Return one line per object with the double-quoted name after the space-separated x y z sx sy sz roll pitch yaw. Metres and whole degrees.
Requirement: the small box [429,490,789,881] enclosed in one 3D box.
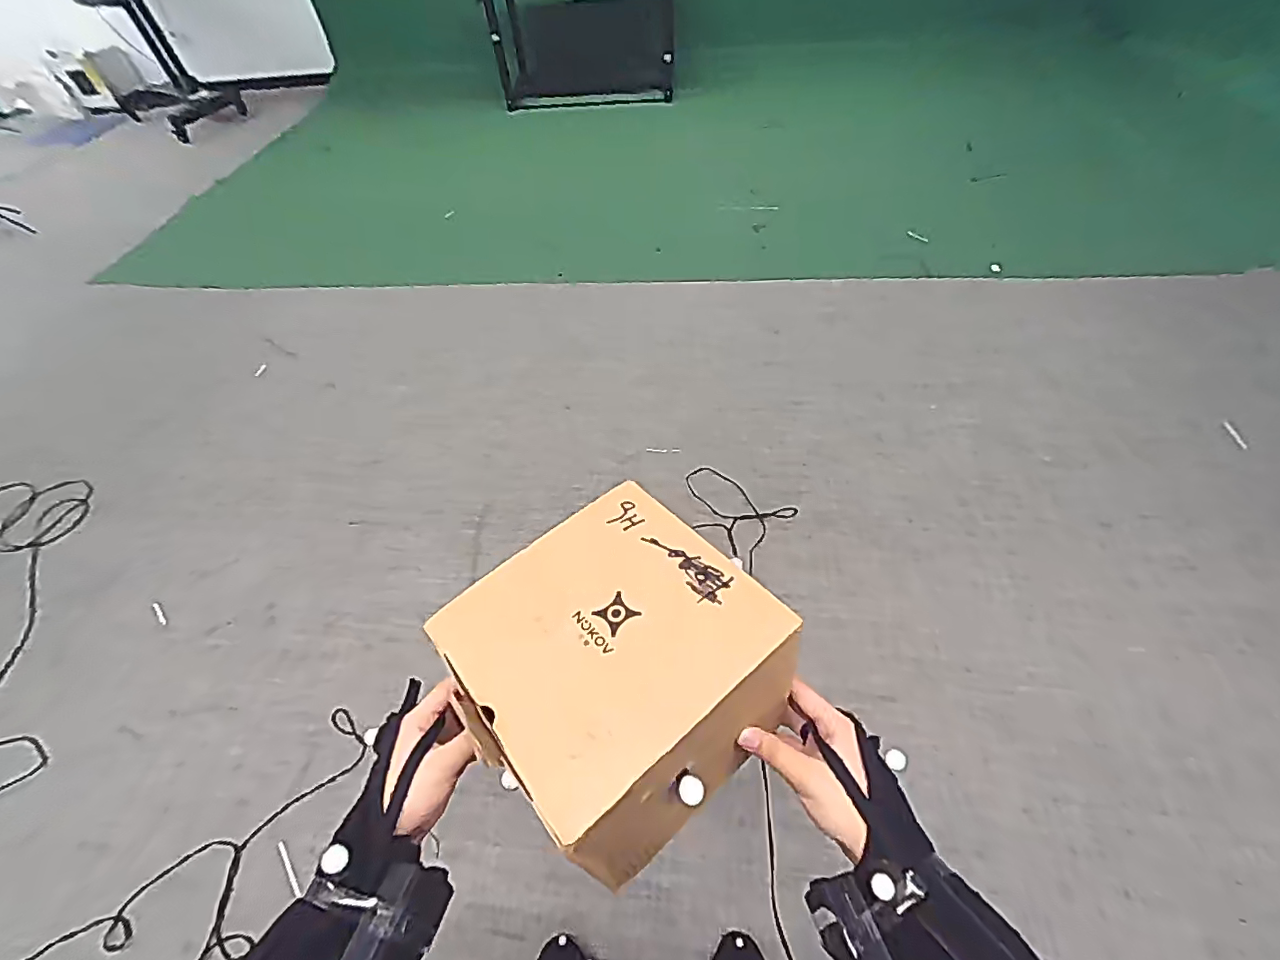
-0.012 0.148 0.394 0.179 0.176 0.168 -36 52 -21 "small box"
